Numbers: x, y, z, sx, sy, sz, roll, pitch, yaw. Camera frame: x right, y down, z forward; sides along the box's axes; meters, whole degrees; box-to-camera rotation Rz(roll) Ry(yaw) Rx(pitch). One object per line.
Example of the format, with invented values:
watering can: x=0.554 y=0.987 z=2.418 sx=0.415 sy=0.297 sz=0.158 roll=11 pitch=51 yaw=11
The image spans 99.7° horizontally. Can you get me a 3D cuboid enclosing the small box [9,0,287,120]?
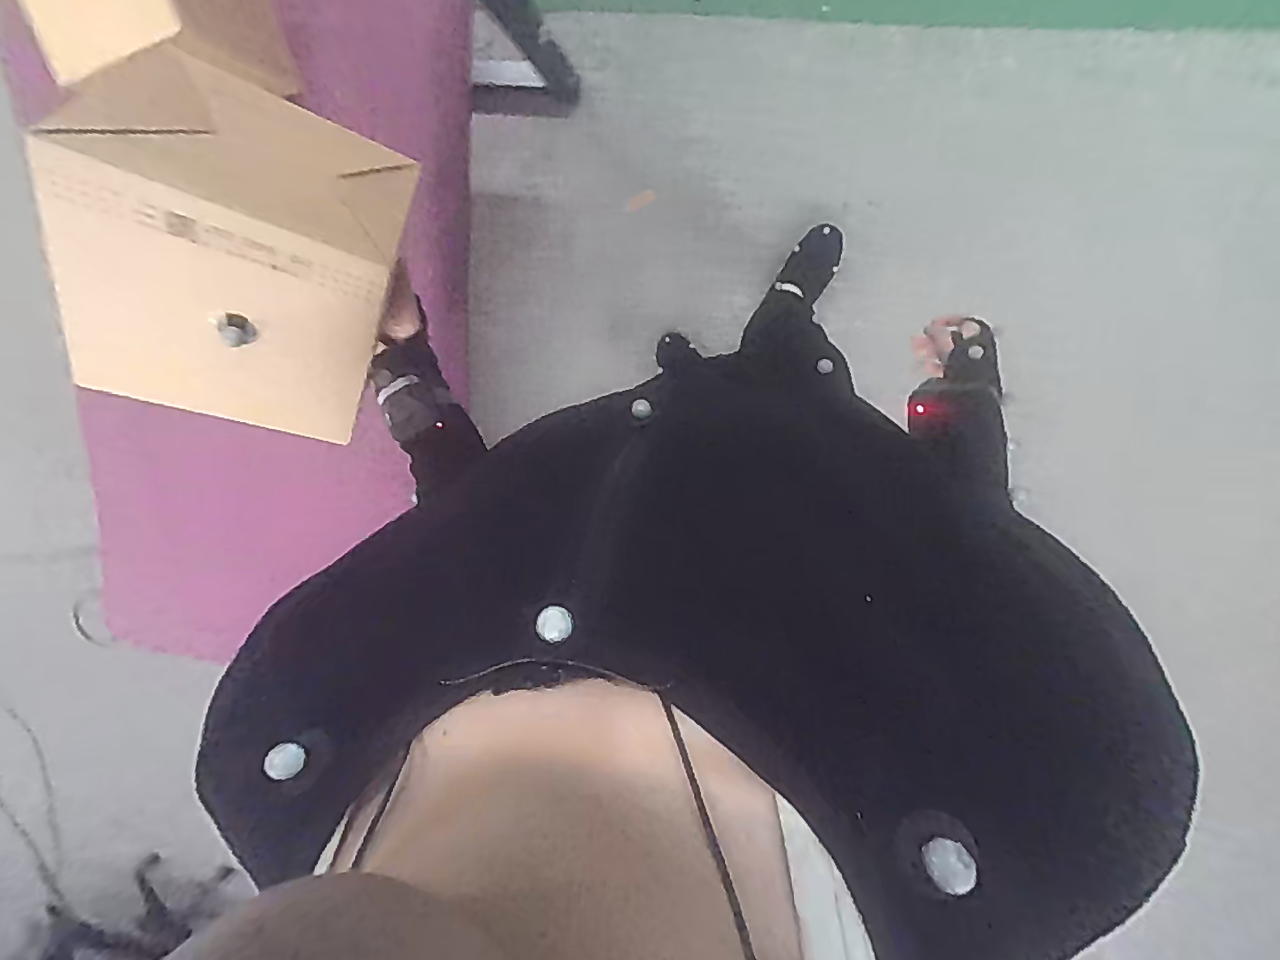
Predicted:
small box: x=-0.537 y=-0.527 z=0.592 sx=0.168 sy=0.176 sz=0.179 roll=-11 pitch=105 yaw=12
